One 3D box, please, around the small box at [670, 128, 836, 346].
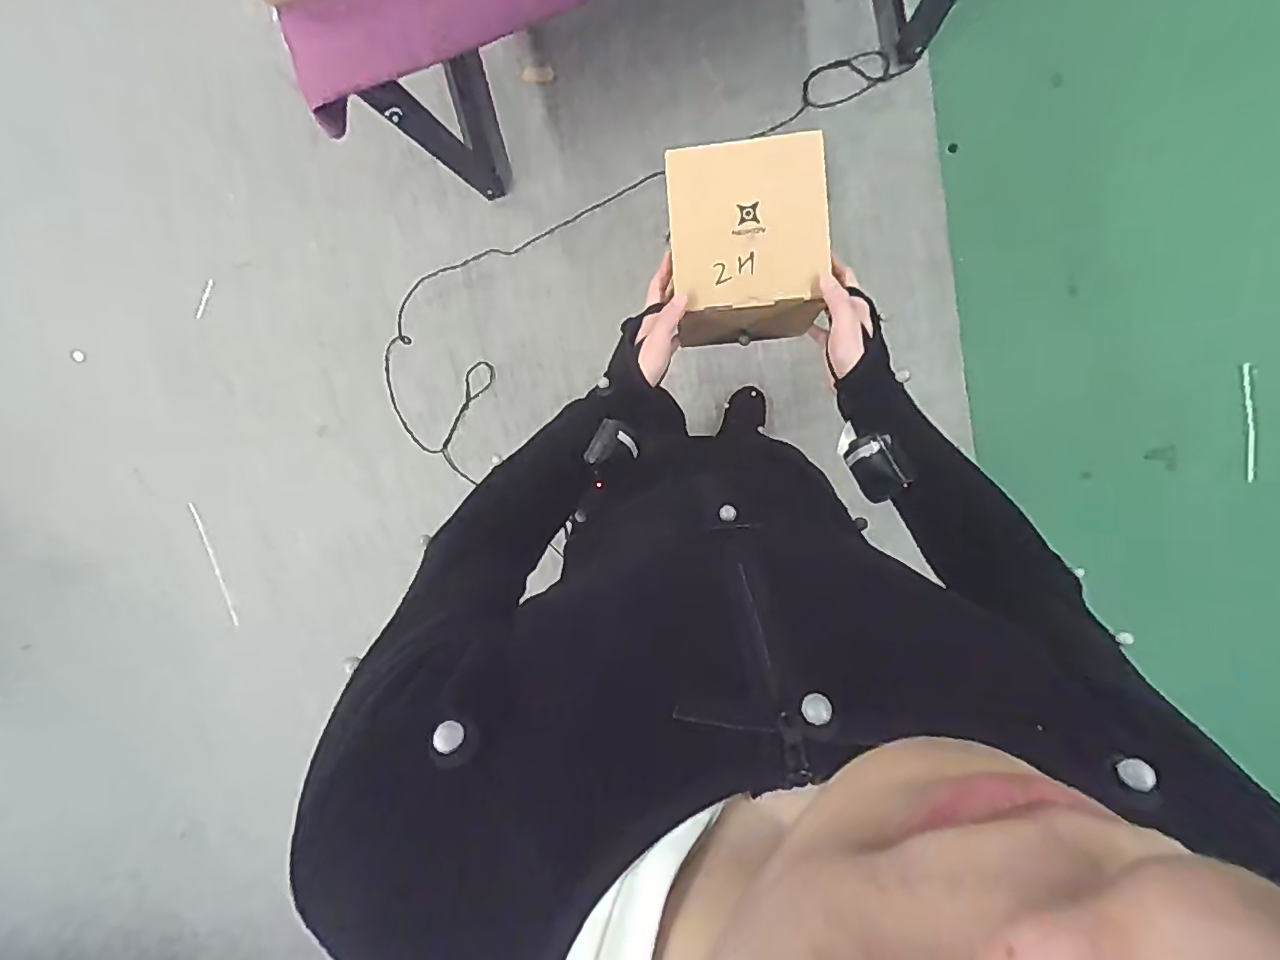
[{"bbox_3d":[0.123,-0.271,0.642,0.168,0.176,0.179,-4,90,6],"label":"small box"}]
